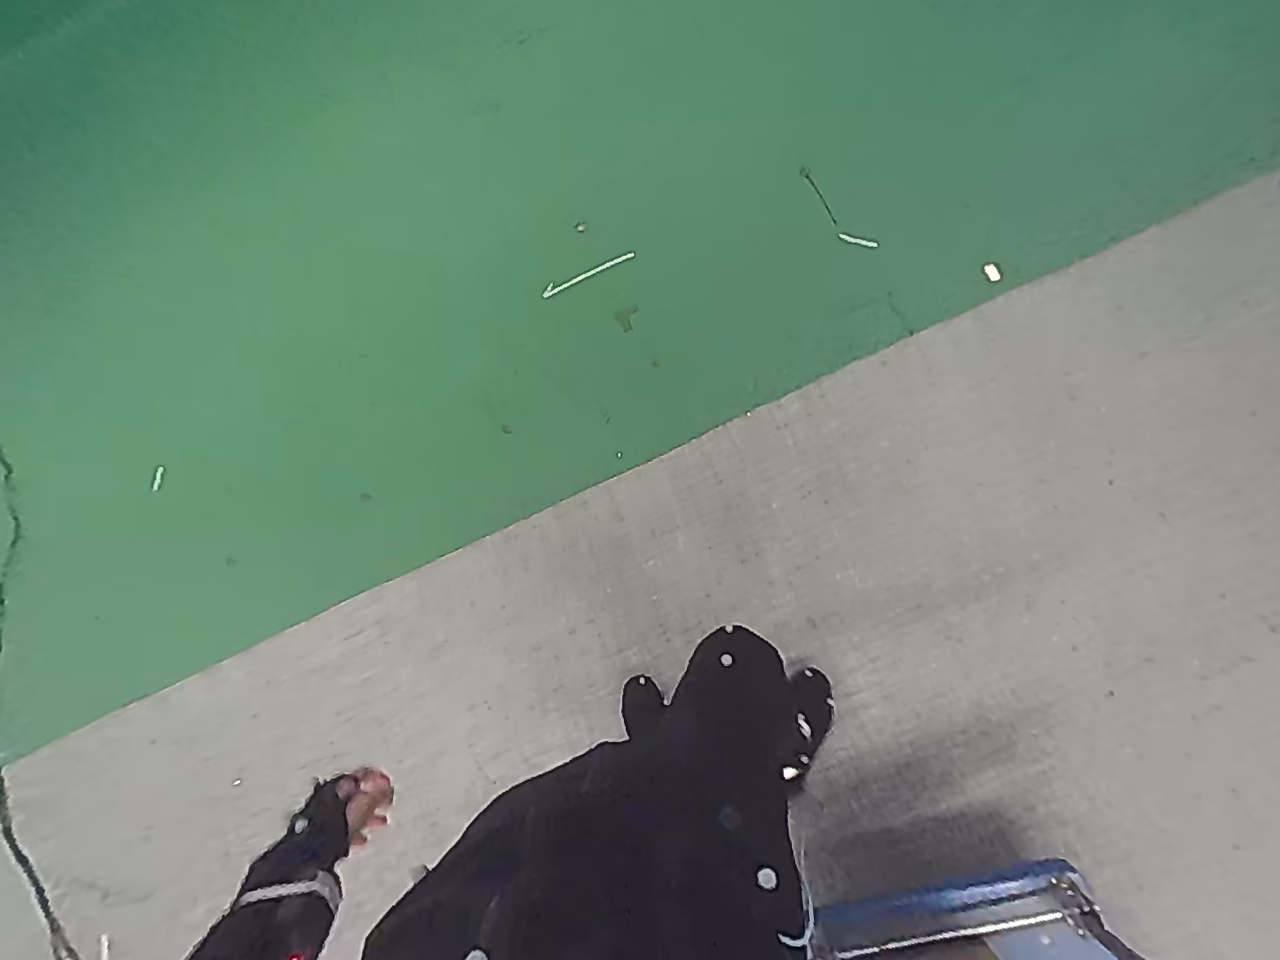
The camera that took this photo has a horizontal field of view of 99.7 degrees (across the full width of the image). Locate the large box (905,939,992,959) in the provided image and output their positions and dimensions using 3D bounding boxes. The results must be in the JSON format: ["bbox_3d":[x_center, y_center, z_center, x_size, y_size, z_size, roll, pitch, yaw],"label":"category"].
[{"bbox_3d":[0.545,1.078,0.863,0.320,0.320,0.408,-18,74,5],"label":"large box"}]
